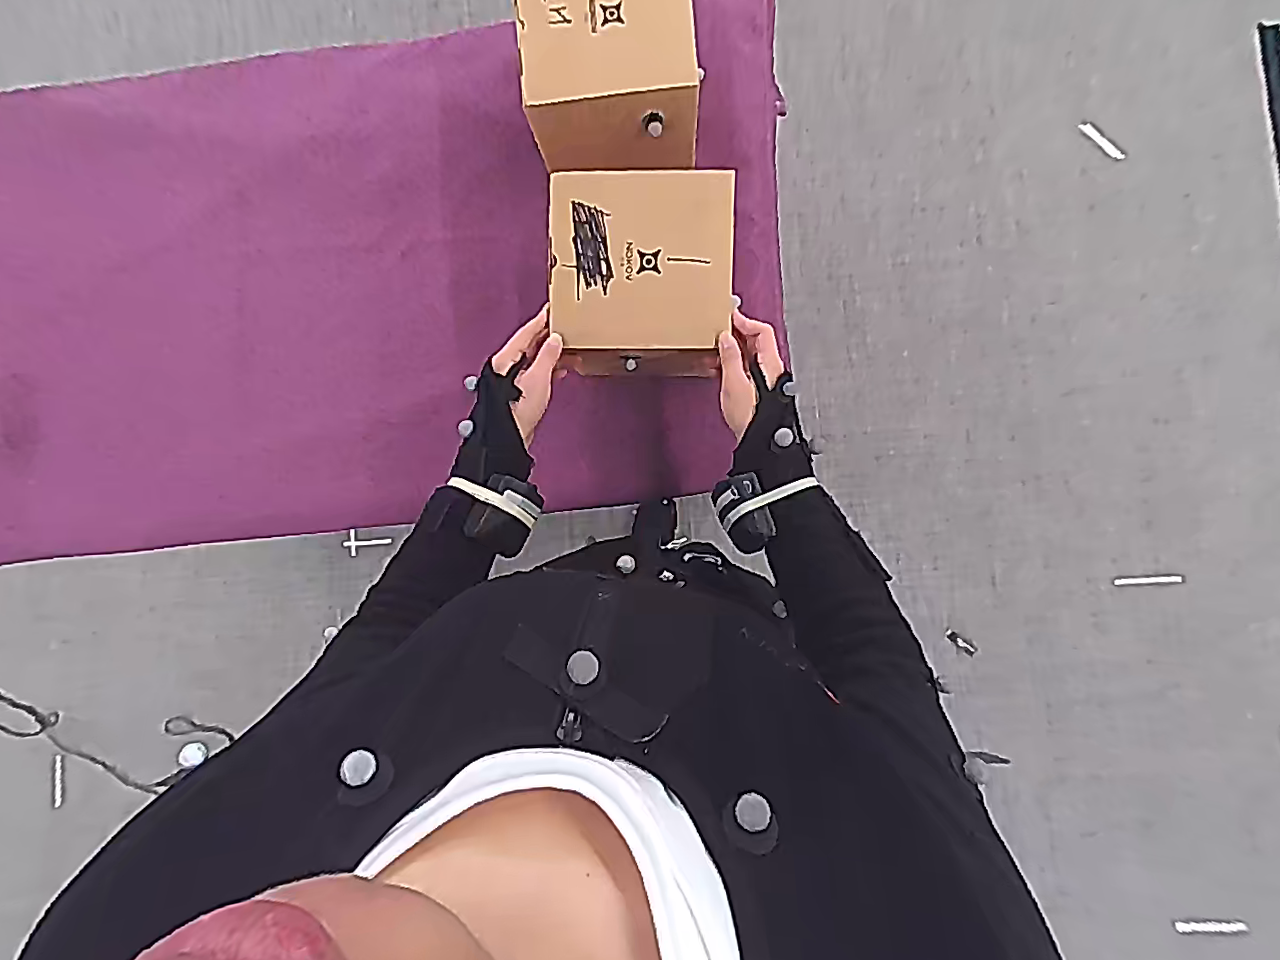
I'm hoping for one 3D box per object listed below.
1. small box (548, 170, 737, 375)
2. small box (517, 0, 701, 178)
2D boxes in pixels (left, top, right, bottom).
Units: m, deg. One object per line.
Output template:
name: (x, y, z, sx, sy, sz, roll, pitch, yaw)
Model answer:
small box: (0.008, -0.208, 0.585, 0.179, 0.176, 0.168, 1, 93, 4)
small box: (-0.029, -0.449, 0.605, 0.179, 0.176, 0.168, -4, 88, 4)
